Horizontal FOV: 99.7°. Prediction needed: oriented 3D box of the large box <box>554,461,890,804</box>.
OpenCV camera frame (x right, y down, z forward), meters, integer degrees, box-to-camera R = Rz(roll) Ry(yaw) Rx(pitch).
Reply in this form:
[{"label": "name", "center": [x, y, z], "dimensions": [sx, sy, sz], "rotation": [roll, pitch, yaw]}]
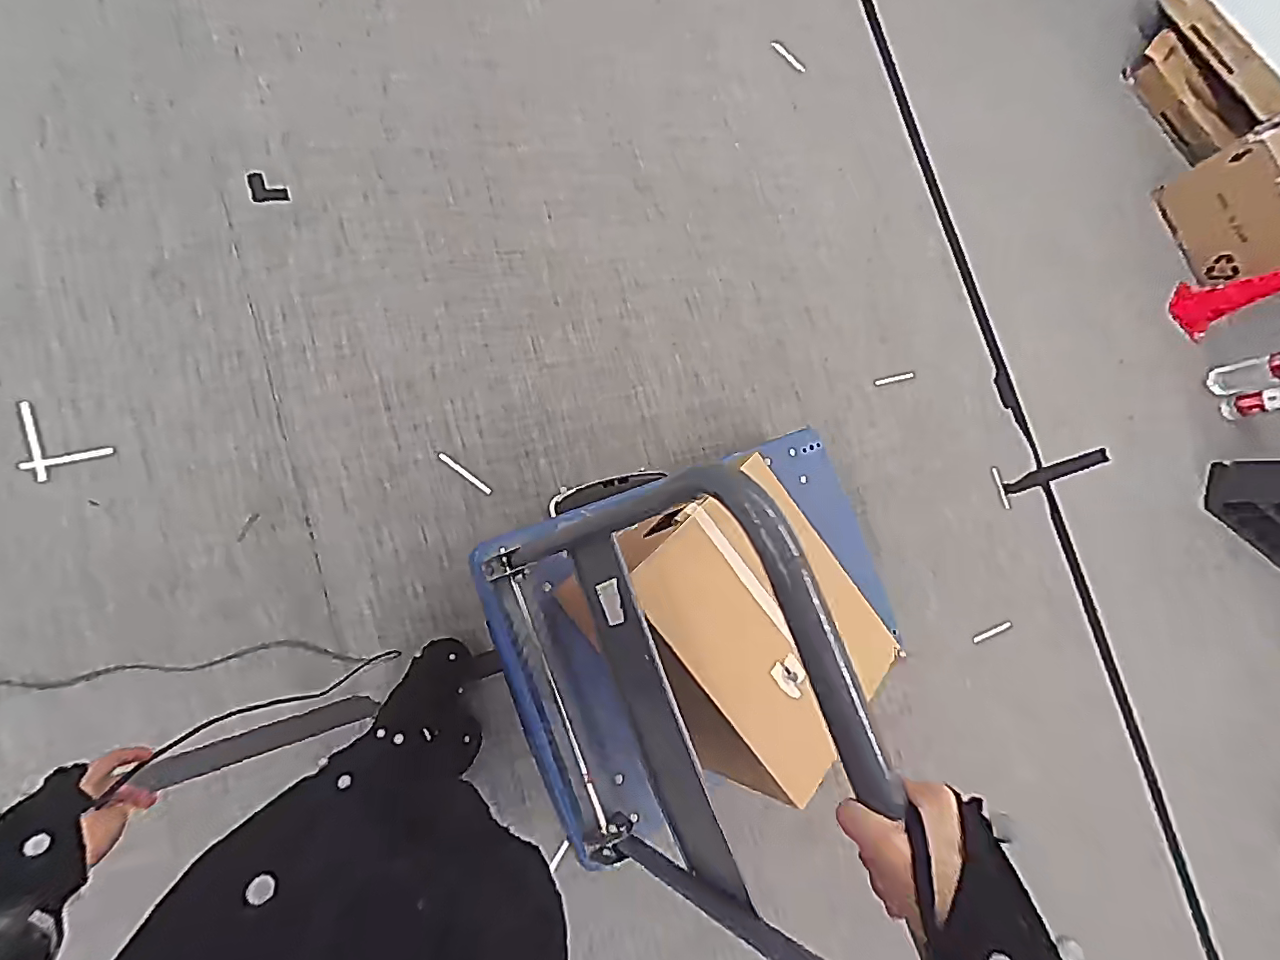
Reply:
[{"label": "large box", "center": [0.126, 0.241, 0.920], "dimensions": [0.320, 0.320, 0.408], "rotation": [-40, 96, -28]}]
